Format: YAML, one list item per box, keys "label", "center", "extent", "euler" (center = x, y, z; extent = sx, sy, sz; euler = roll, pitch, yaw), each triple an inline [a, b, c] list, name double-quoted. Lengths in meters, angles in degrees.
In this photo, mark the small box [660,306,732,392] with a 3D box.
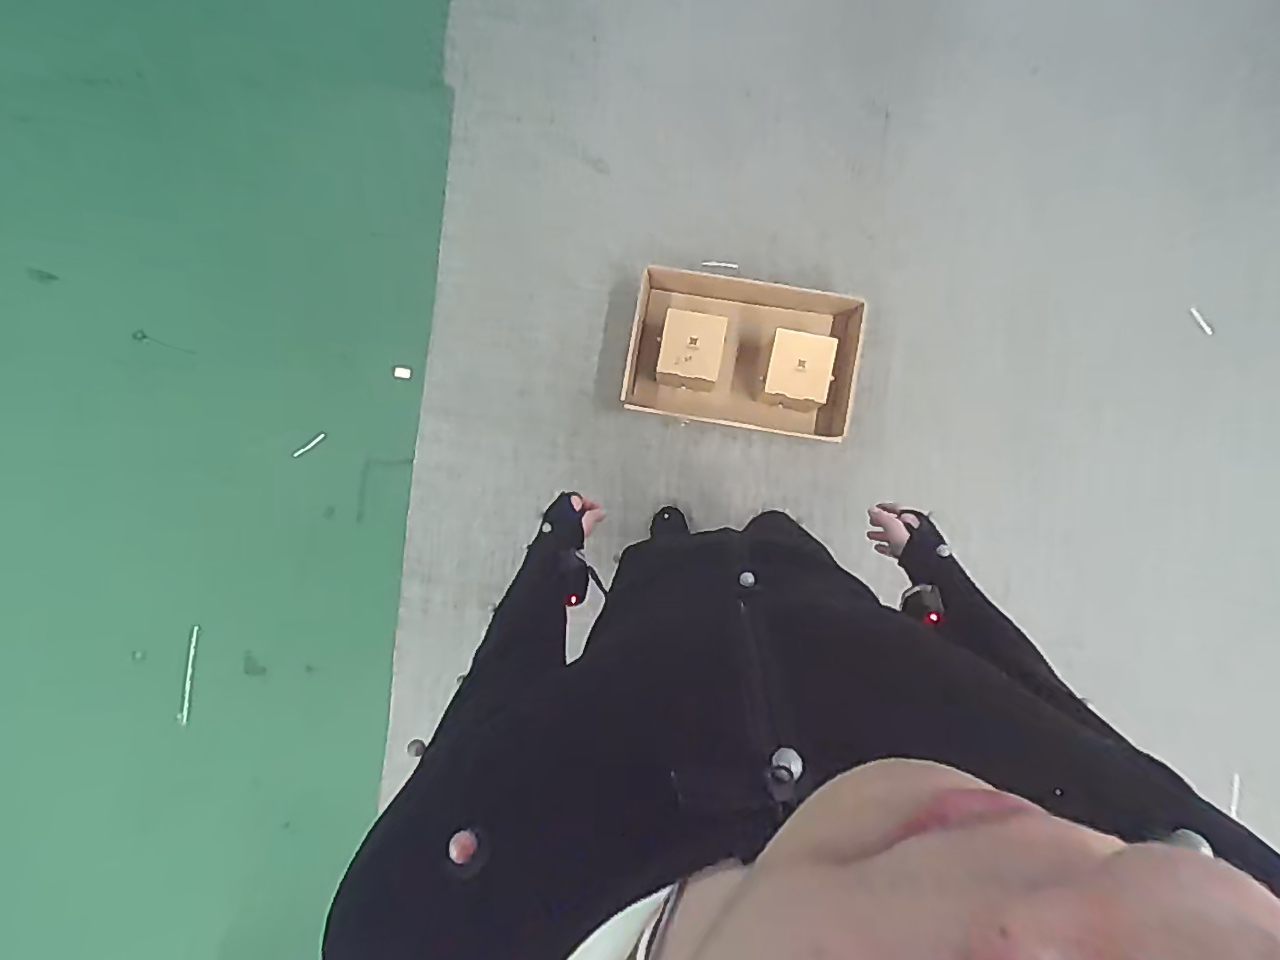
- label: "small box"
  center: [0.150, -0.358, 1.506]
  extent: [0.168, 0.176, 0.179]
  euler: [10, 88, 3]
